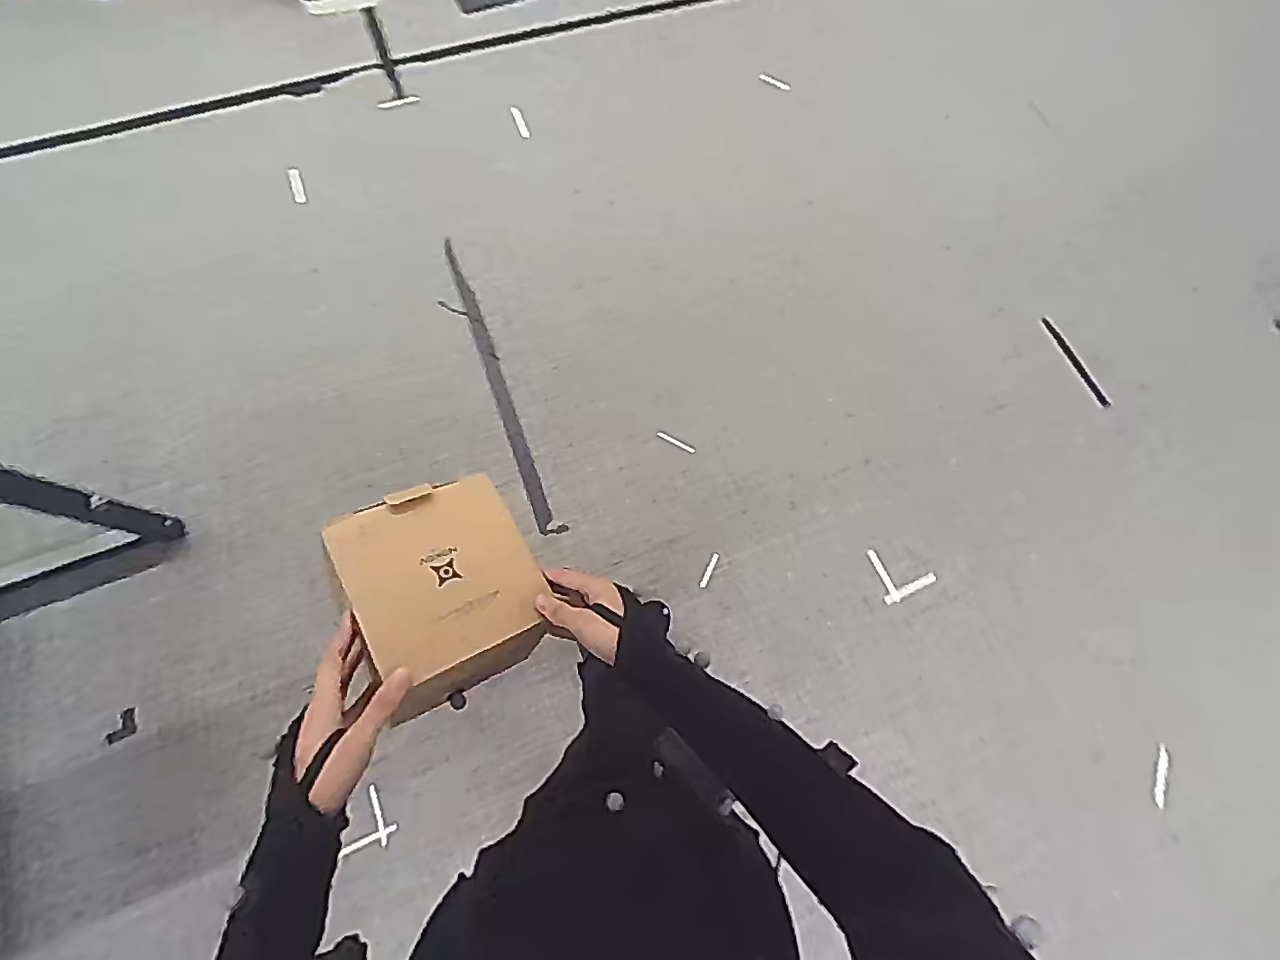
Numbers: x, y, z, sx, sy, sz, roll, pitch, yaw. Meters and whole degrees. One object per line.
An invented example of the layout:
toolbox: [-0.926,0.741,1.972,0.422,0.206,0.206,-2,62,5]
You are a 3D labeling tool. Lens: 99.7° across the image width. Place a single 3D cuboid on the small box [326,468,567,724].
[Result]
small box: [-0.204,0.119,0.555,0.168,0.176,0.179,-20,69,-34]
